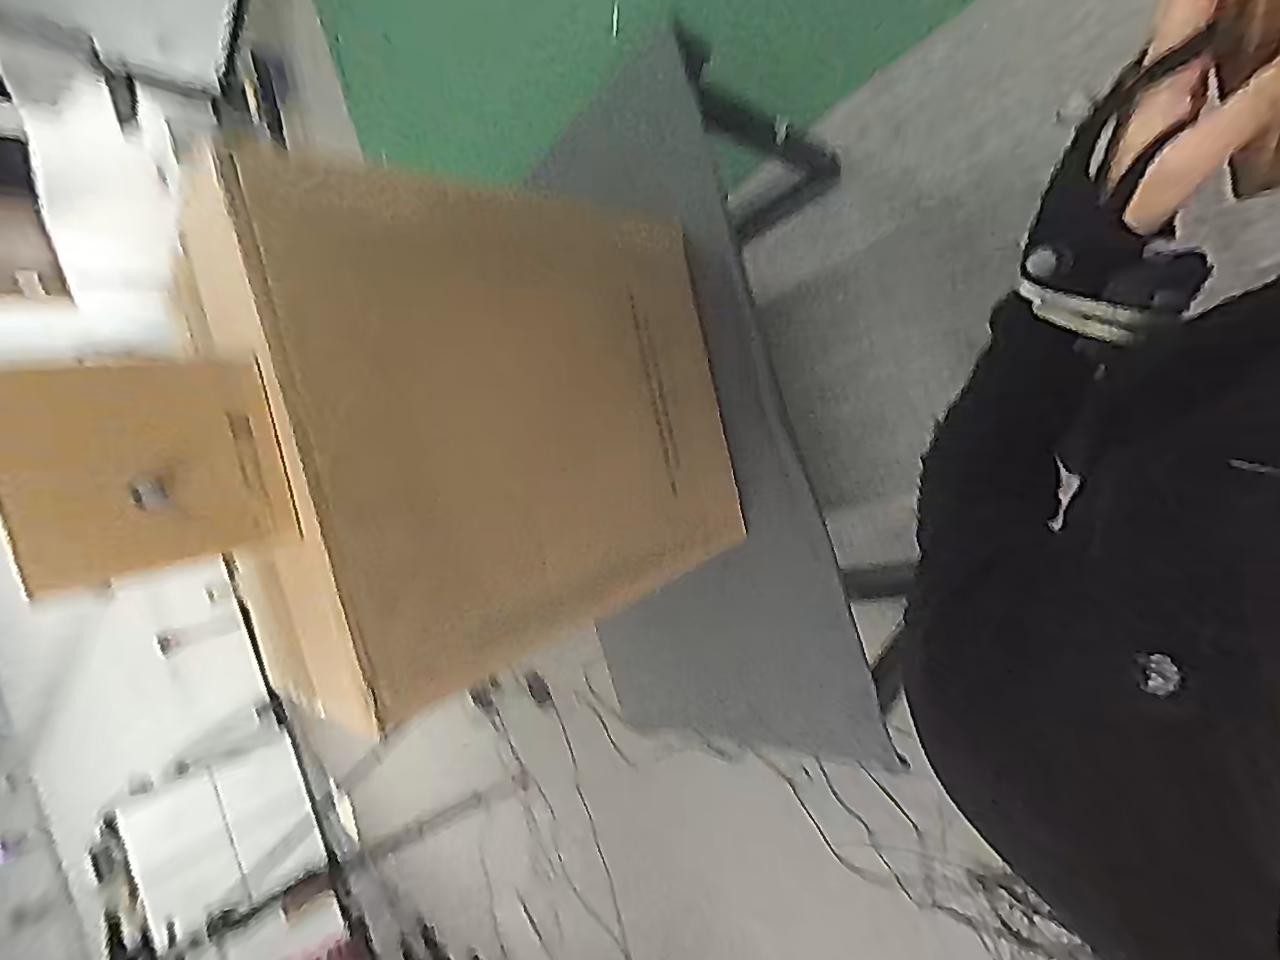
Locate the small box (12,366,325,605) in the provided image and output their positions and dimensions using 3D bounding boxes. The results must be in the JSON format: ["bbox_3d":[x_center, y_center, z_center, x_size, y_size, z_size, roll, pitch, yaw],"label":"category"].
[{"bbox_3d":[-0.407,-0.002,0.483,0.179,0.176,0.168,-5,98,43],"label":"small box"}]
